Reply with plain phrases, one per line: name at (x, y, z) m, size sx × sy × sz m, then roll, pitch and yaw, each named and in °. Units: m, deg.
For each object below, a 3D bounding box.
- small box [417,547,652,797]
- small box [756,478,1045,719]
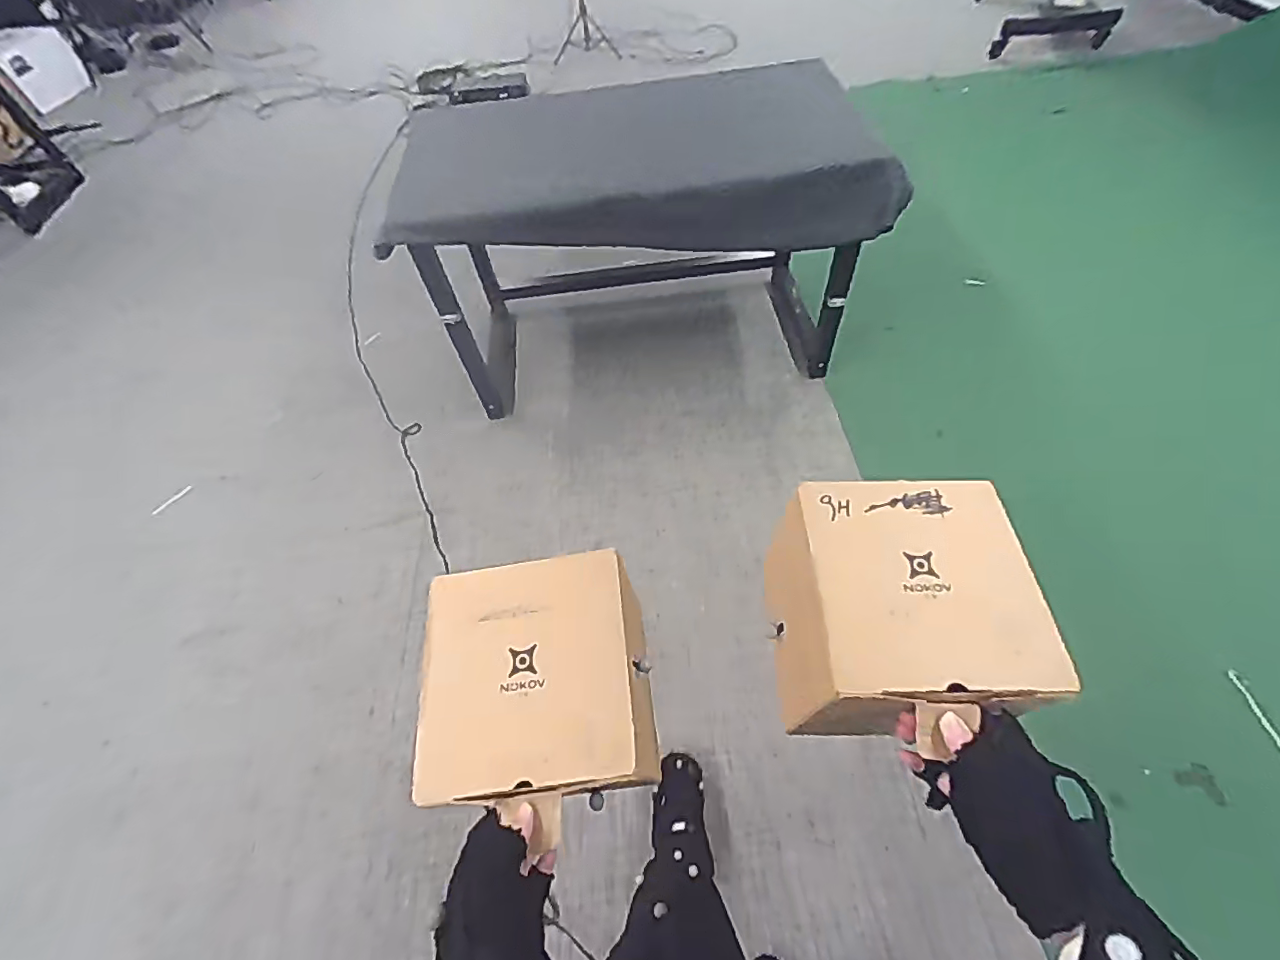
small box at (-0.086, 0.185, 0.506) m, size 0.168 × 0.176 × 0.179 m, roll -10°, pitch 59°, yaw 2°
small box at (0.207, 0.116, 0.494) m, size 0.168 × 0.176 × 0.179 m, roll -1°, pitch 58°, yaw 0°
